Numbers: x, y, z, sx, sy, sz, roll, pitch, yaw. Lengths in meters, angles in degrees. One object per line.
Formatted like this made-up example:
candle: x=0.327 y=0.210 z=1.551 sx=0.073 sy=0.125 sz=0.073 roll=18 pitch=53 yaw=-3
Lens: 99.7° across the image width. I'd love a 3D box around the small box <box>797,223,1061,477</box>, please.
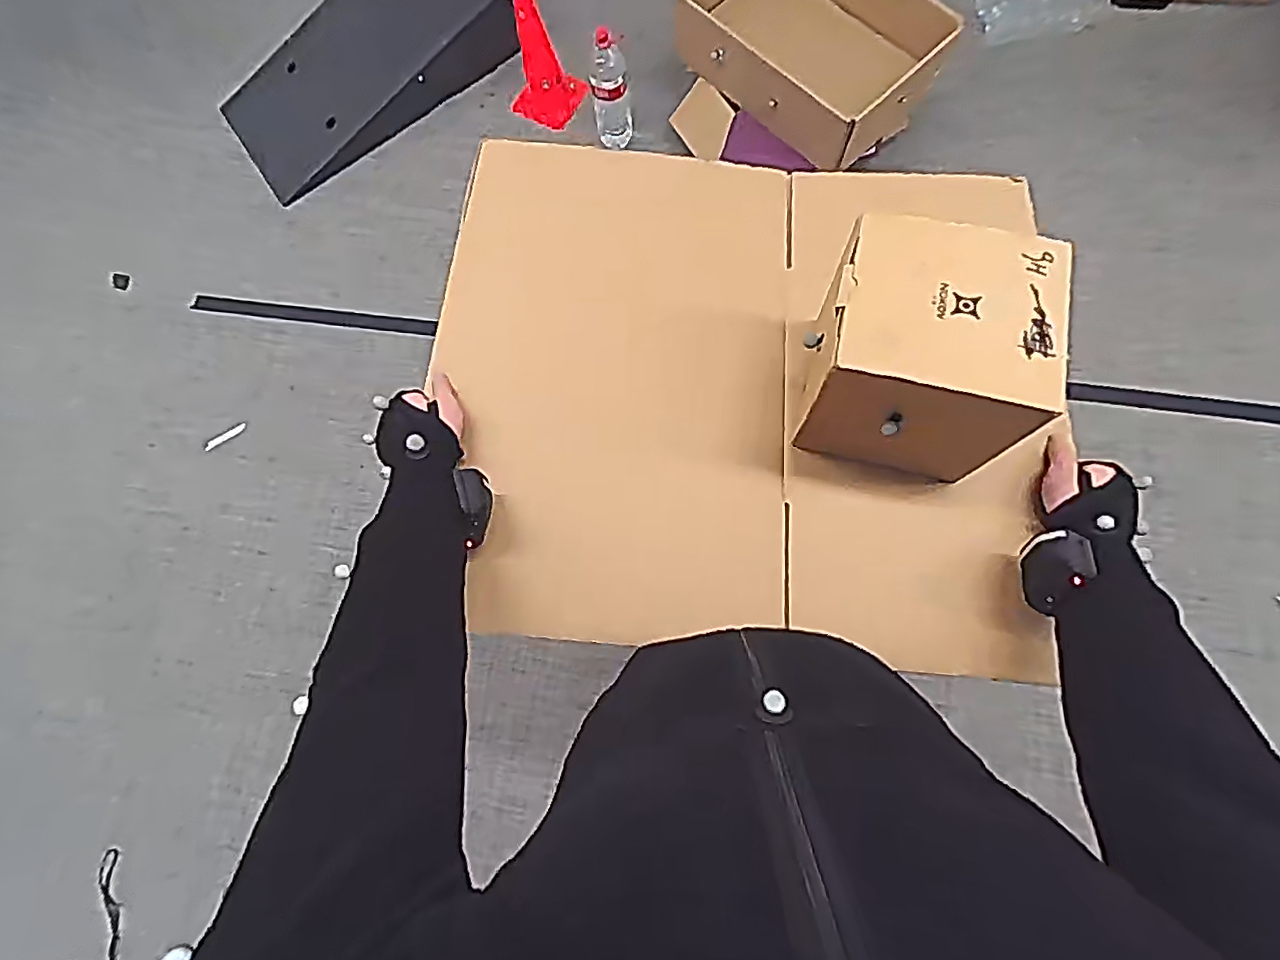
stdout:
small box: x=0.265 y=-0.116 z=0.532 sx=0.179 sy=0.176 sz=0.168 roll=13 pitch=73 yaw=9
